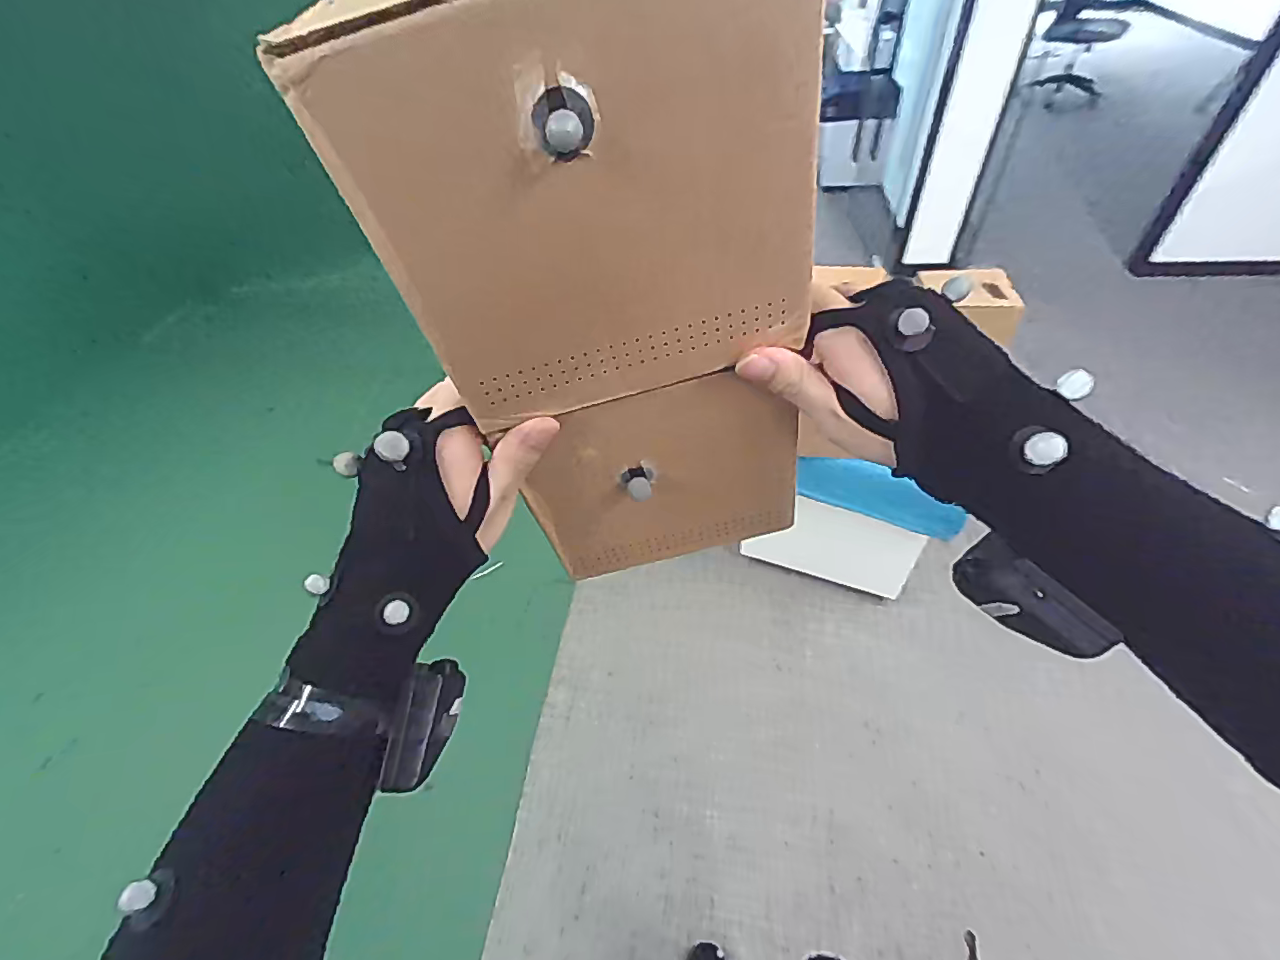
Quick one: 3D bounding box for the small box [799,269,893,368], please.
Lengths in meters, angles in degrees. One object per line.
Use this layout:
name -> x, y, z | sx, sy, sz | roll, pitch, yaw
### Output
small box -> 0.476, -0.380, 1.279 | 0.179, 0.176, 0.168 | 6, 47, 8

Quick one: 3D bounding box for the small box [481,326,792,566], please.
small box -> 0.004, -0.058, 0.397 | 0.179, 0.176, 0.168 | -14, 48, 3

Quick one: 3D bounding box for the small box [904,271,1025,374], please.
small box -> 0.717, -0.352, 1.218 | 0.179, 0.176, 0.168 | 3, 46, 11

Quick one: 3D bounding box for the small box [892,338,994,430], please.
small box -> 0.732, -0.237, 1.333 | 0.179, 0.176, 0.168 | 4, 47, 12

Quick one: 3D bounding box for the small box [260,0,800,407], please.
small box -> -0.027, -0.159, 0.271 | 0.179, 0.176, 0.168 | -14, 48, 3
